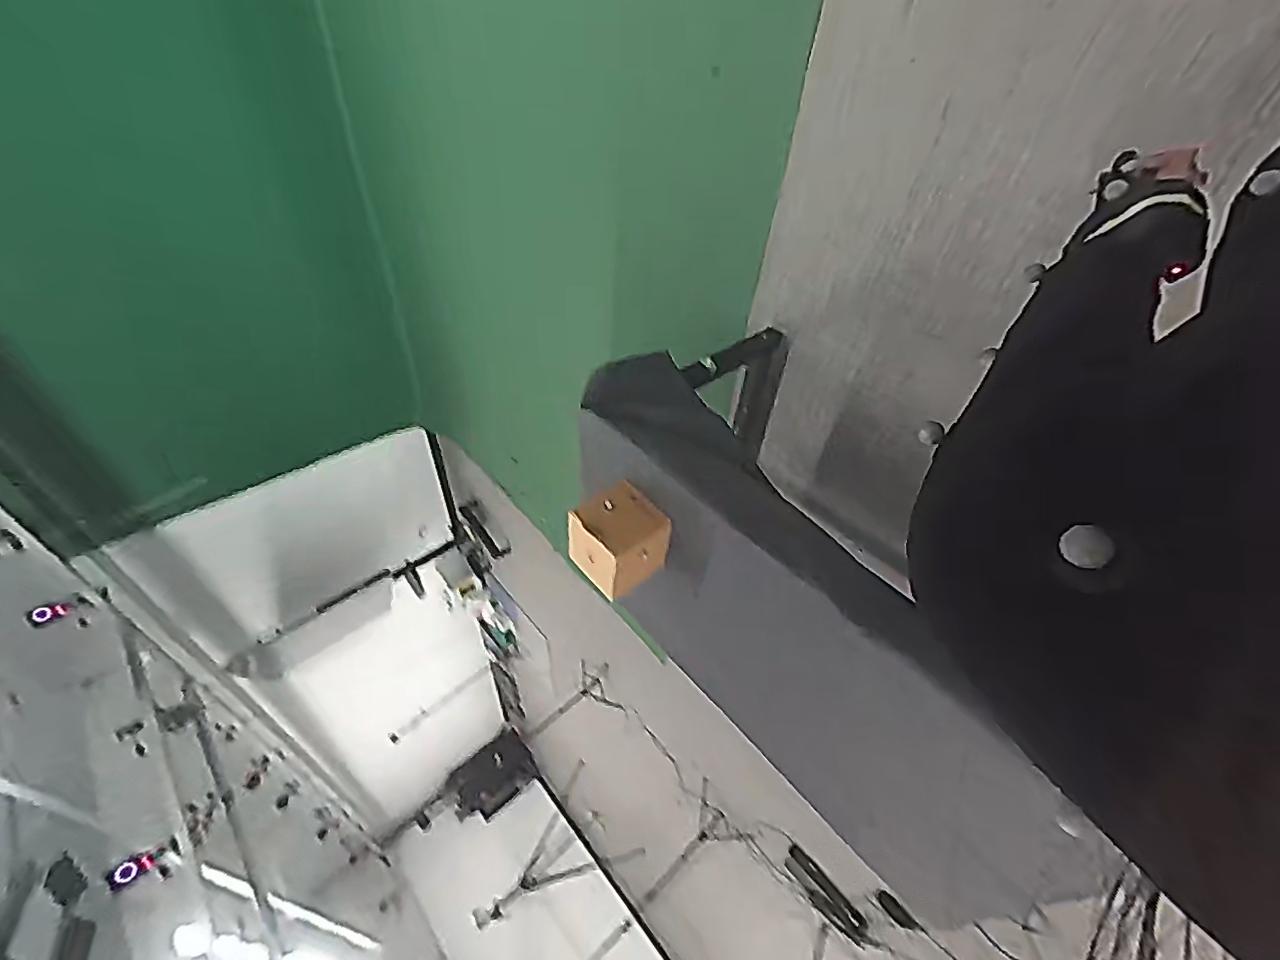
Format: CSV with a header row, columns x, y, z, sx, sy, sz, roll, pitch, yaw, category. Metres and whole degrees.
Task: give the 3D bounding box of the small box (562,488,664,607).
x,y,z,sx,sy,sz,roll,pitch,yaw,category
-0.061,0.149,1.238,0.168,0.176,0.179,41,145,29,small box
